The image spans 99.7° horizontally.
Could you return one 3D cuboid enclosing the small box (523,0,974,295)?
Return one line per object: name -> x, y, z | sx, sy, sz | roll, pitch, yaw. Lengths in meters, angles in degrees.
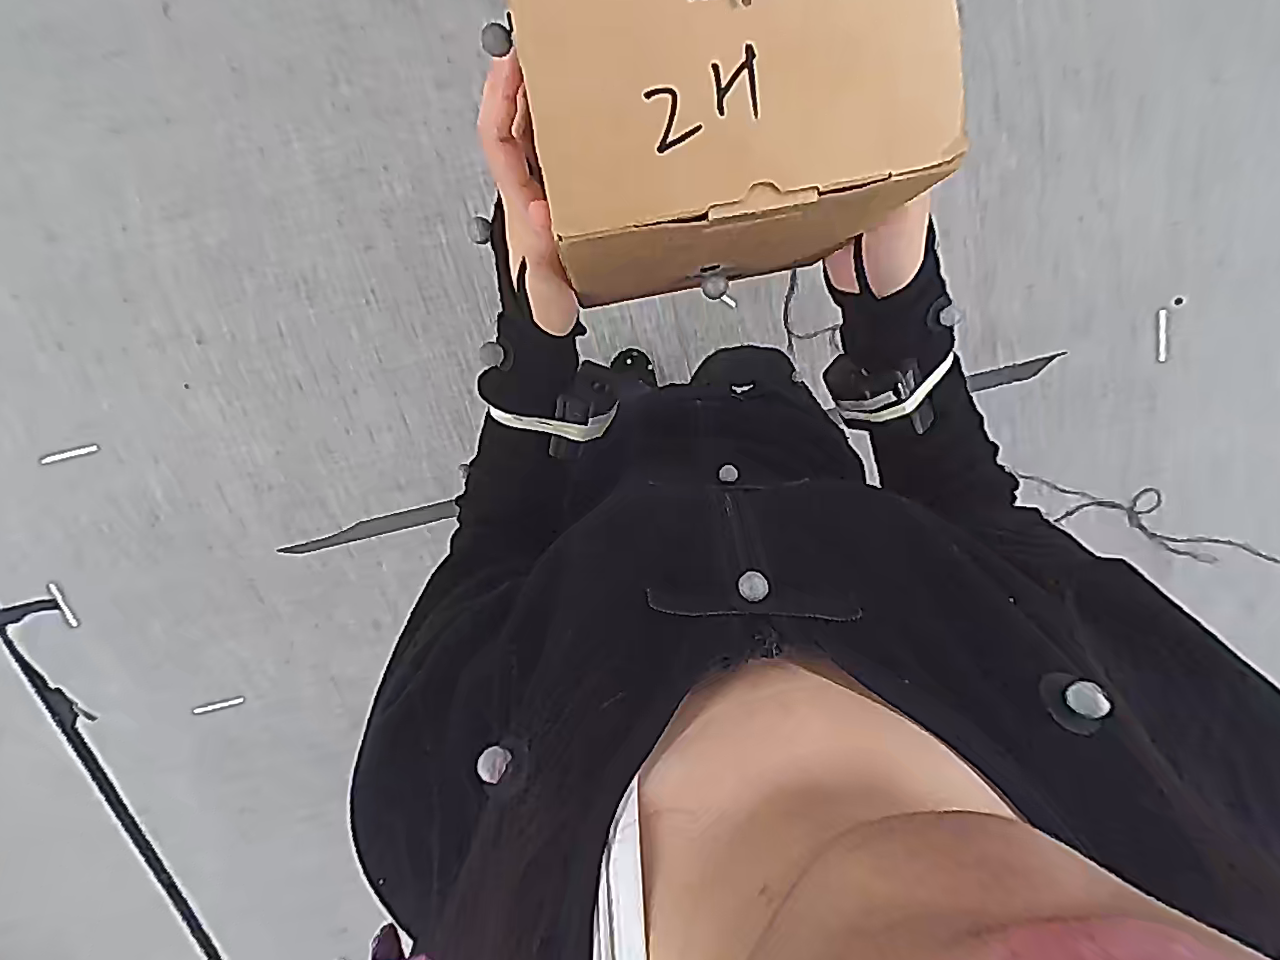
small box -> 0.031, -0.210, 0.275 | 0.168, 0.176, 0.179 | -11, 100, -1
